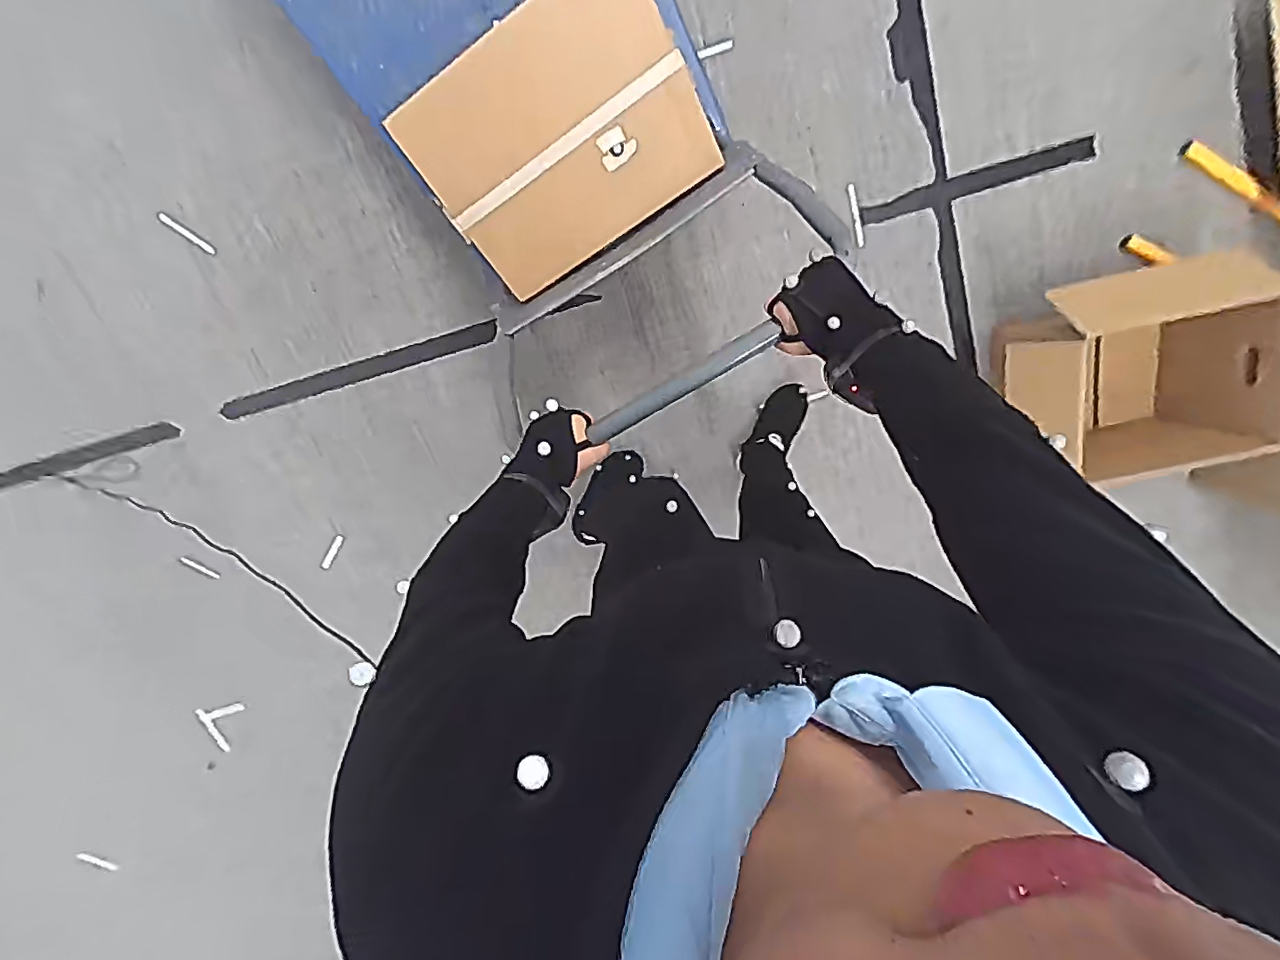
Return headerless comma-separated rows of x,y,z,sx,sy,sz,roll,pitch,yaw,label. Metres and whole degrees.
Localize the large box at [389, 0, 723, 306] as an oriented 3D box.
-0.134,-0.577,0.915,0.408,0.320,0.320,-30,126,13,large box
